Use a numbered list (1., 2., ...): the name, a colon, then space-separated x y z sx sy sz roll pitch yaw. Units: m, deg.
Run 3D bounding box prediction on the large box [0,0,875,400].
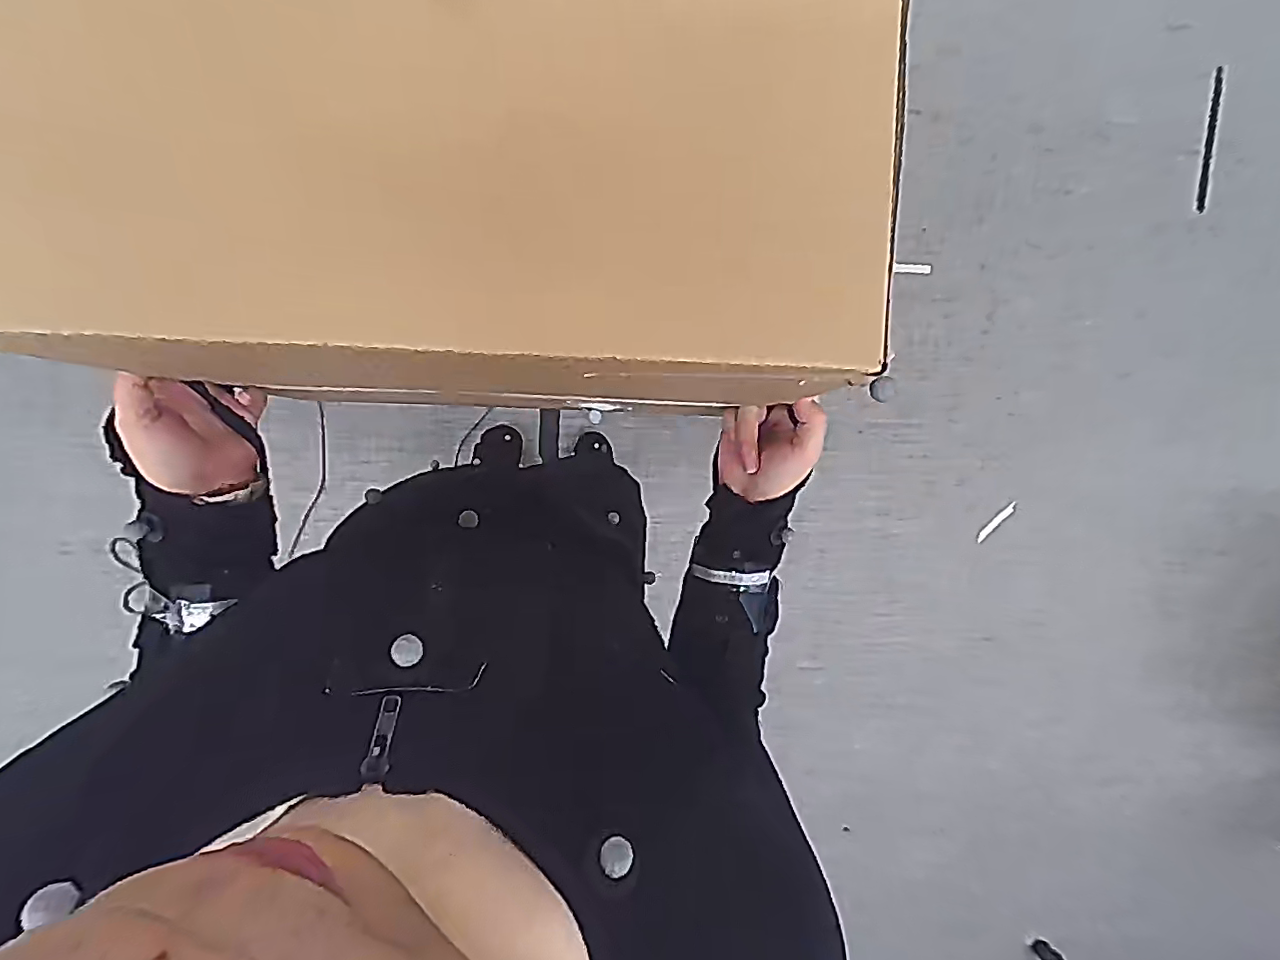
1. large box: -0.104 -0.223 0.371 0.408 0.320 0.320 0 95 -3
